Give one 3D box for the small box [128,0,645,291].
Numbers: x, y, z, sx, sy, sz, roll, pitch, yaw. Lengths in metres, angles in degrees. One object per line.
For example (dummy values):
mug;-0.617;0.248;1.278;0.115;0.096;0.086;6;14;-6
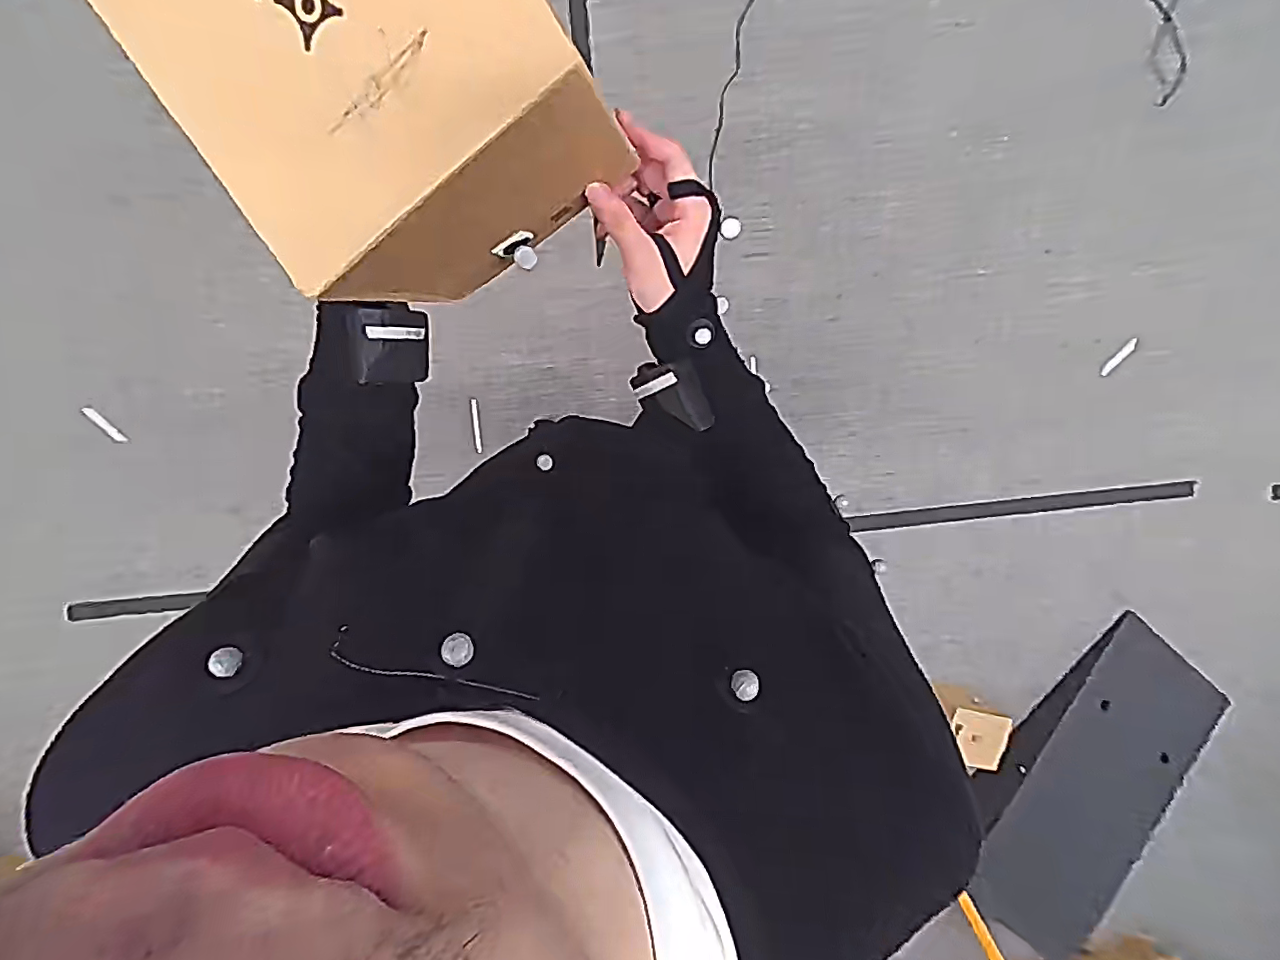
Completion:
small box;-0.116;-0.225;0.305;0.168;0.176;0.179;-30;101;17
